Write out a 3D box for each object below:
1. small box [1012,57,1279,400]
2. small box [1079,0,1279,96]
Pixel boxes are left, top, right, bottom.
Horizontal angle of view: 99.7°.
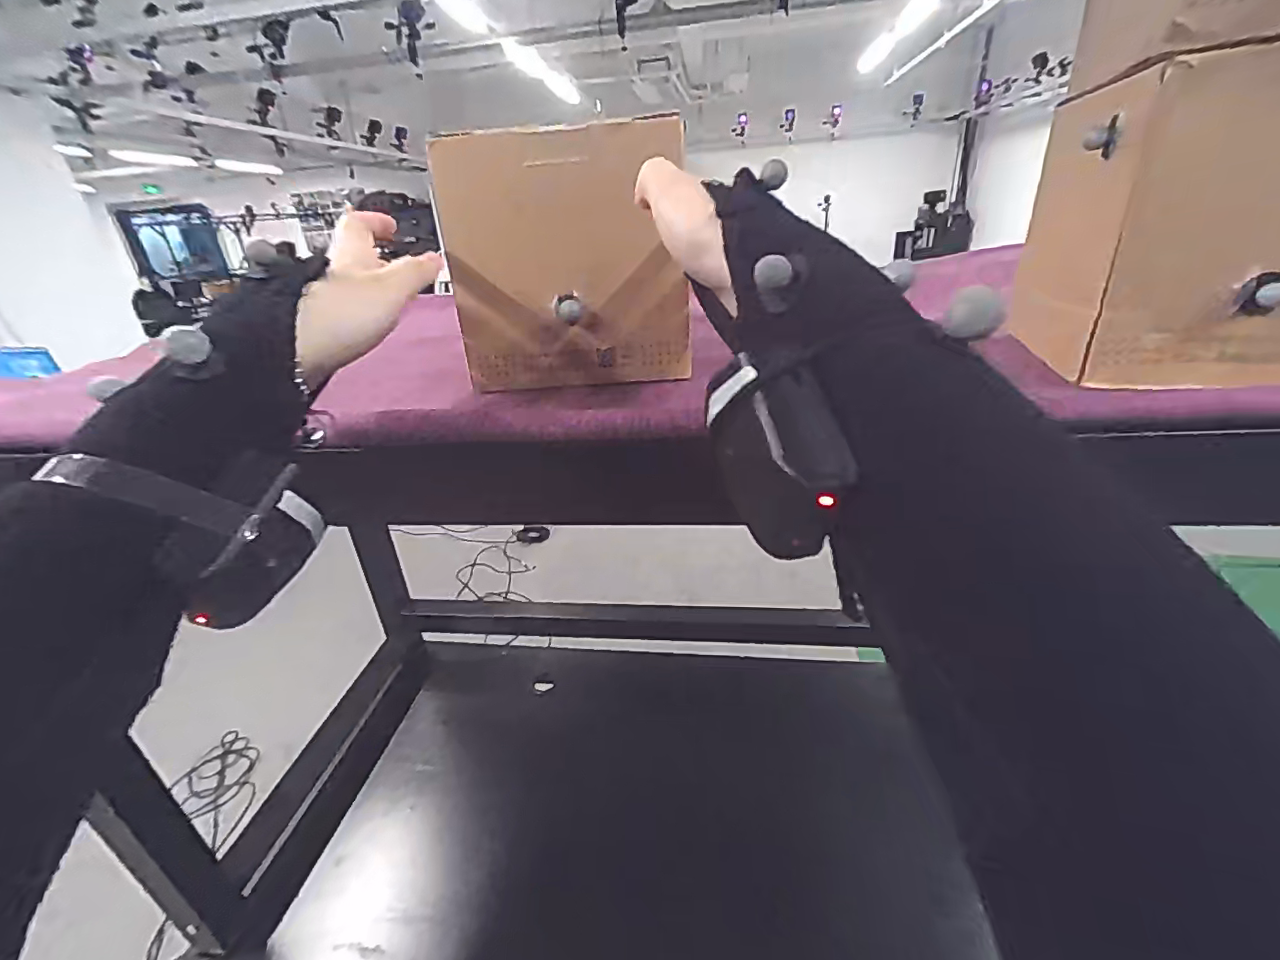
[{"bbox_3d":[0.362,-0.154,0.338,0.168,0.176,0.179,4,29,18],"label":"small box"},{"bbox_3d":[0.348,-0.295,0.259,0.168,0.176,0.179,5,30,22],"label":"small box"}]
